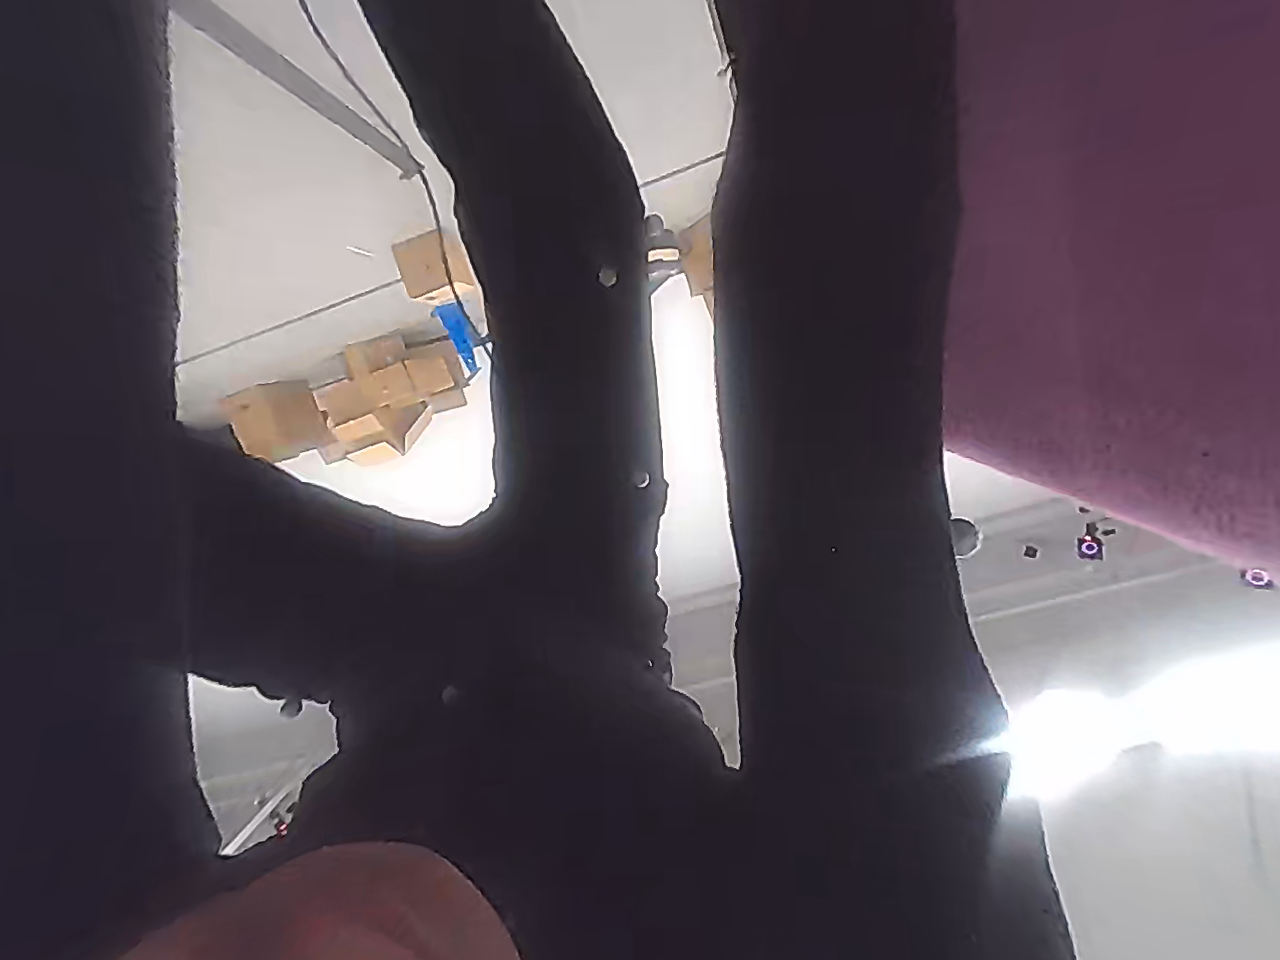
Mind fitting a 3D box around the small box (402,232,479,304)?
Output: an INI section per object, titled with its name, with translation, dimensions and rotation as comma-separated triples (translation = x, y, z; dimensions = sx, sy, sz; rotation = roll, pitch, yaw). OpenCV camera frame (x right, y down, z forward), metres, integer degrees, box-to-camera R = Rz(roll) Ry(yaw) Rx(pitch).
[small box]
translation = -0.682, -0.718, 1.839
dimensions = 0.179, 0.176, 0.168
rotation = -17, -169, 11
